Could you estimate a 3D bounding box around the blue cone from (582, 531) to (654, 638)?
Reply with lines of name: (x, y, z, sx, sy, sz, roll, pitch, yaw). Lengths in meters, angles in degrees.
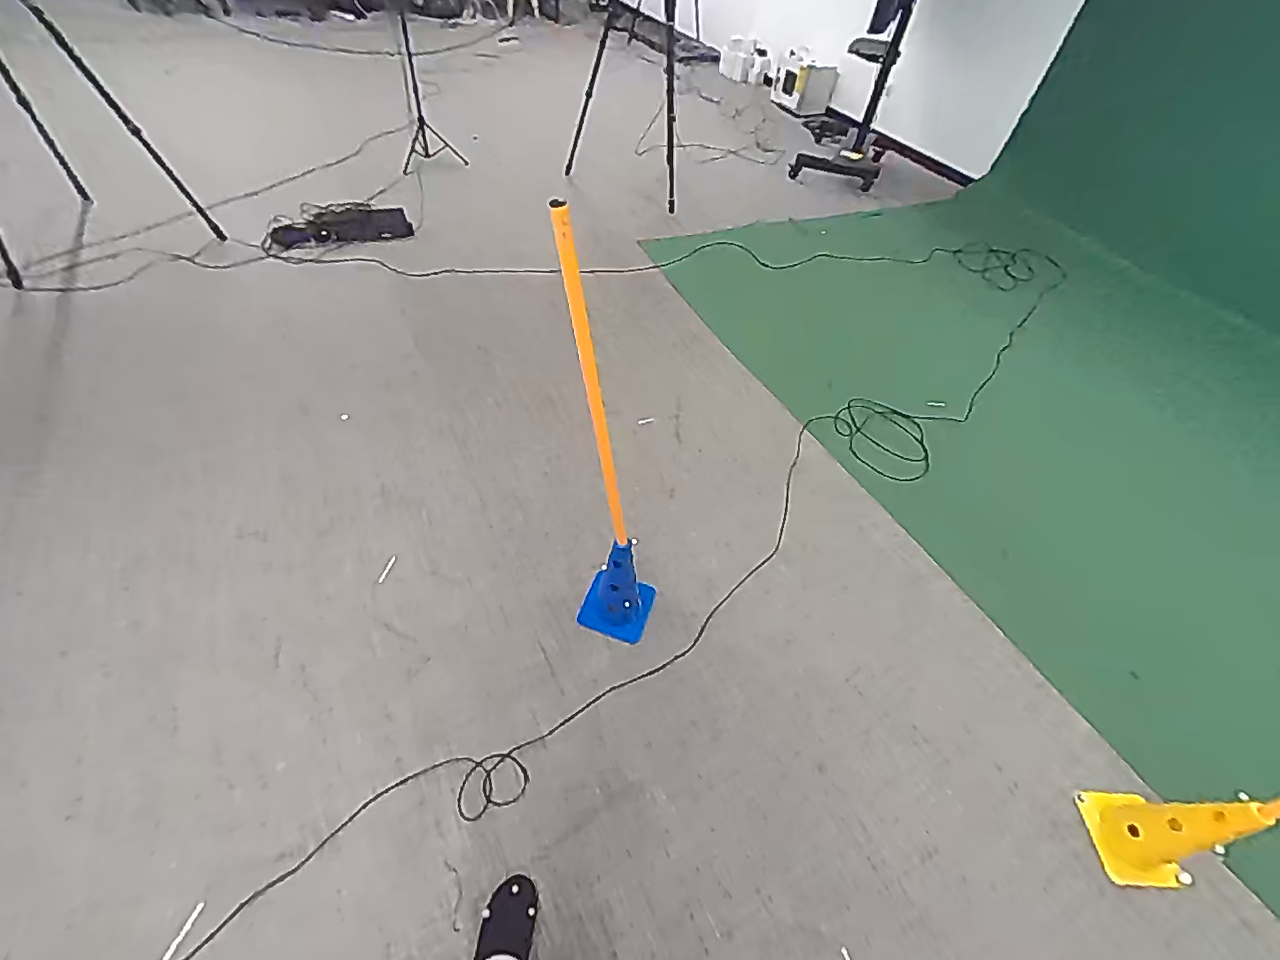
blue cone: (-0.056, 0.271, 1.502, 0.193, 0.380, 0.192, 15, 50, 8)
